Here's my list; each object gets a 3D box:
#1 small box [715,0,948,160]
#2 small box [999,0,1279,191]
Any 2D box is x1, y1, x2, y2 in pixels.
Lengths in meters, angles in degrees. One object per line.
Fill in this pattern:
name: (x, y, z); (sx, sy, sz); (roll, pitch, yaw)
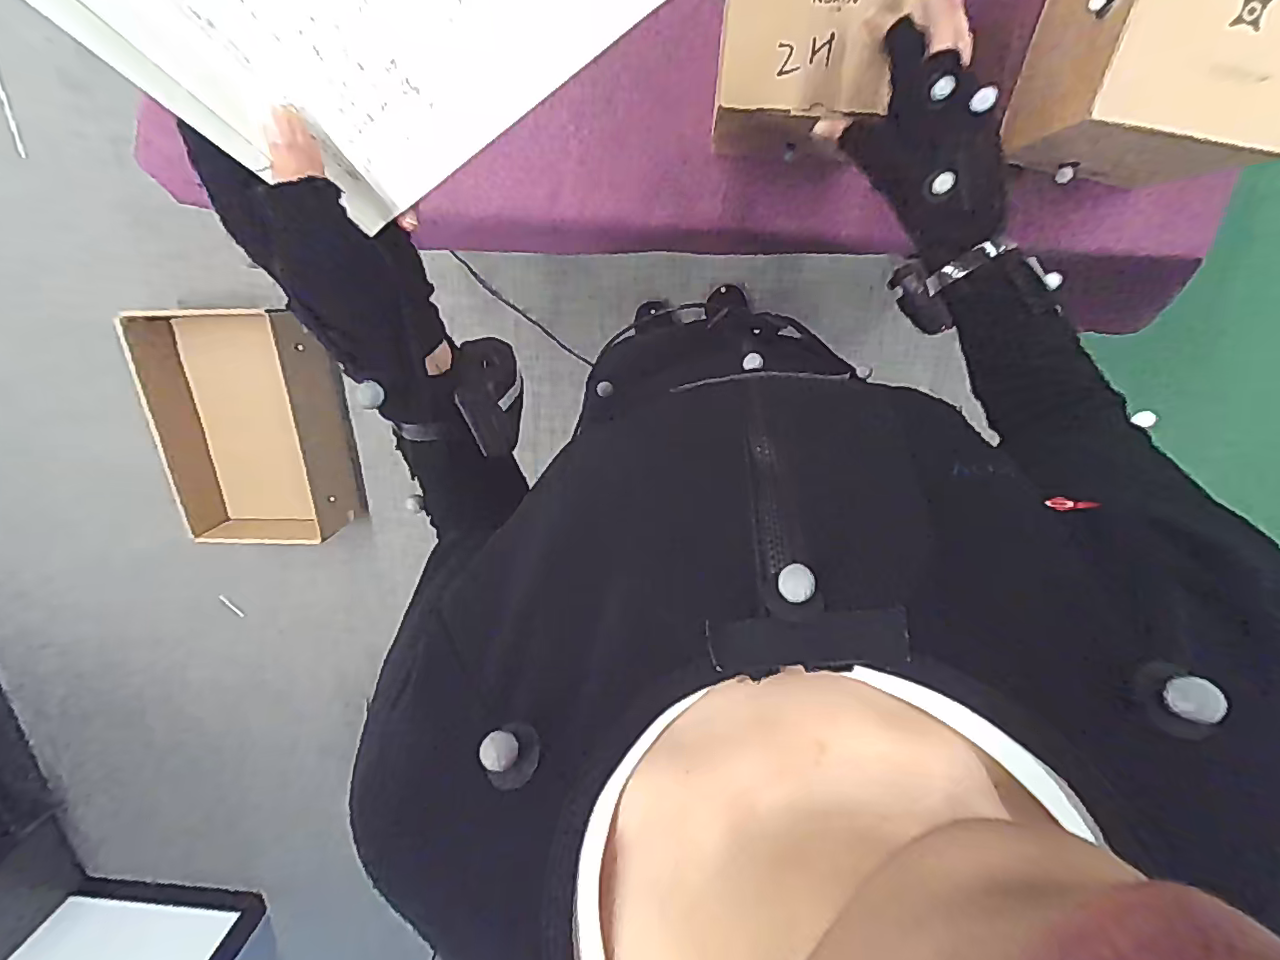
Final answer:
small box: (0.162, -0.412, 0.490); (0.168, 0.176, 0.179); (6, 111, 3)
small box: (0.465, -0.378, 0.478); (0.168, 0.176, 0.179); (13, 111, 1)
